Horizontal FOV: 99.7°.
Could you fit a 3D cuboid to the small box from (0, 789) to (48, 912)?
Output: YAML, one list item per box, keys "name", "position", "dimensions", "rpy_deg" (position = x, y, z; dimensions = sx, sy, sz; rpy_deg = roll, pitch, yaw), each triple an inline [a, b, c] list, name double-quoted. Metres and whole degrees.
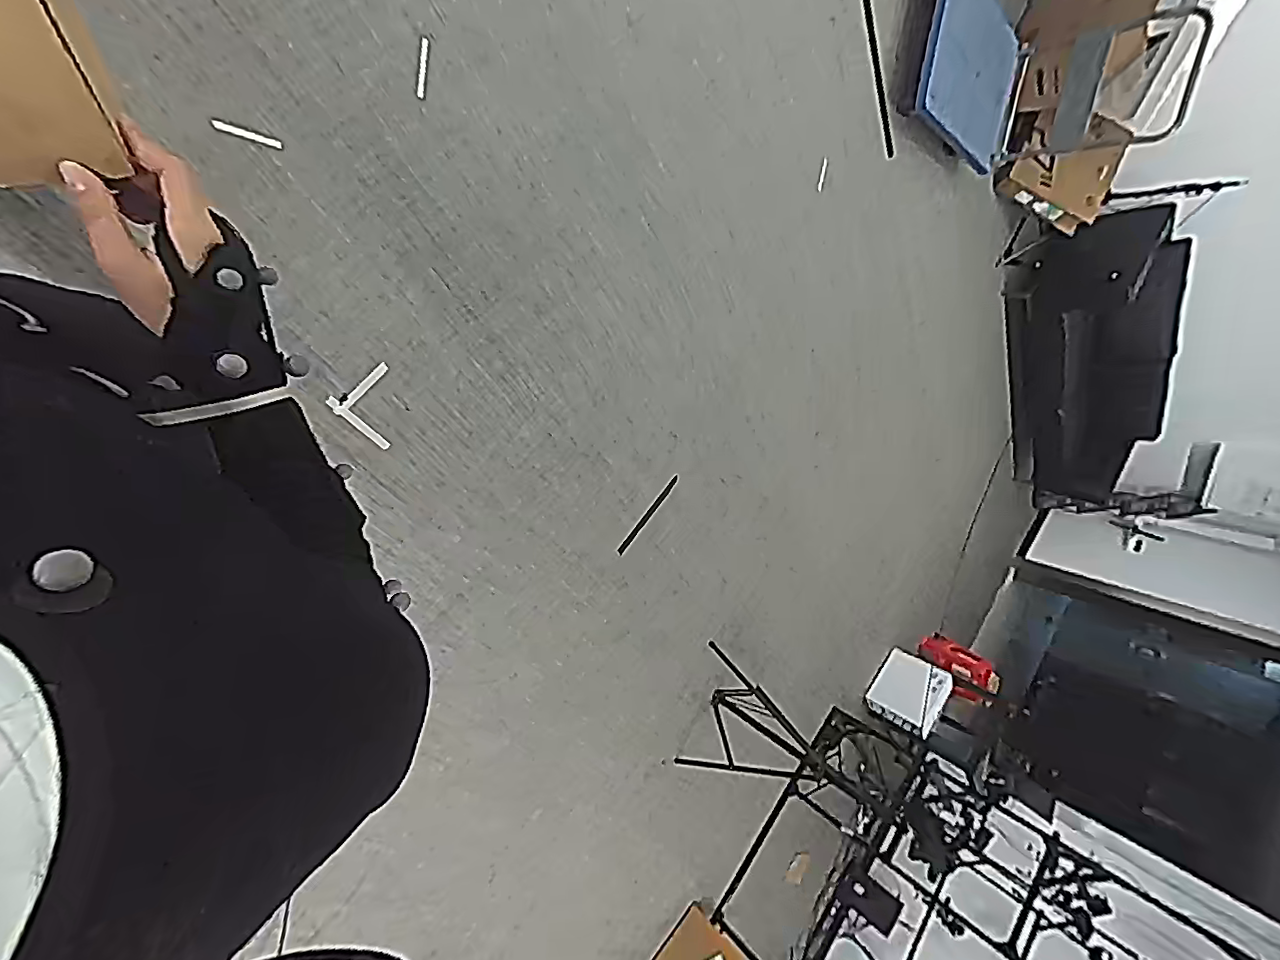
- name: "small box"
  position: [-1.055, 0.584, 0.806]
  dimensions: [0.168, 0.176, 0.179]
  rpy_deg: [-56, 134, -12]
